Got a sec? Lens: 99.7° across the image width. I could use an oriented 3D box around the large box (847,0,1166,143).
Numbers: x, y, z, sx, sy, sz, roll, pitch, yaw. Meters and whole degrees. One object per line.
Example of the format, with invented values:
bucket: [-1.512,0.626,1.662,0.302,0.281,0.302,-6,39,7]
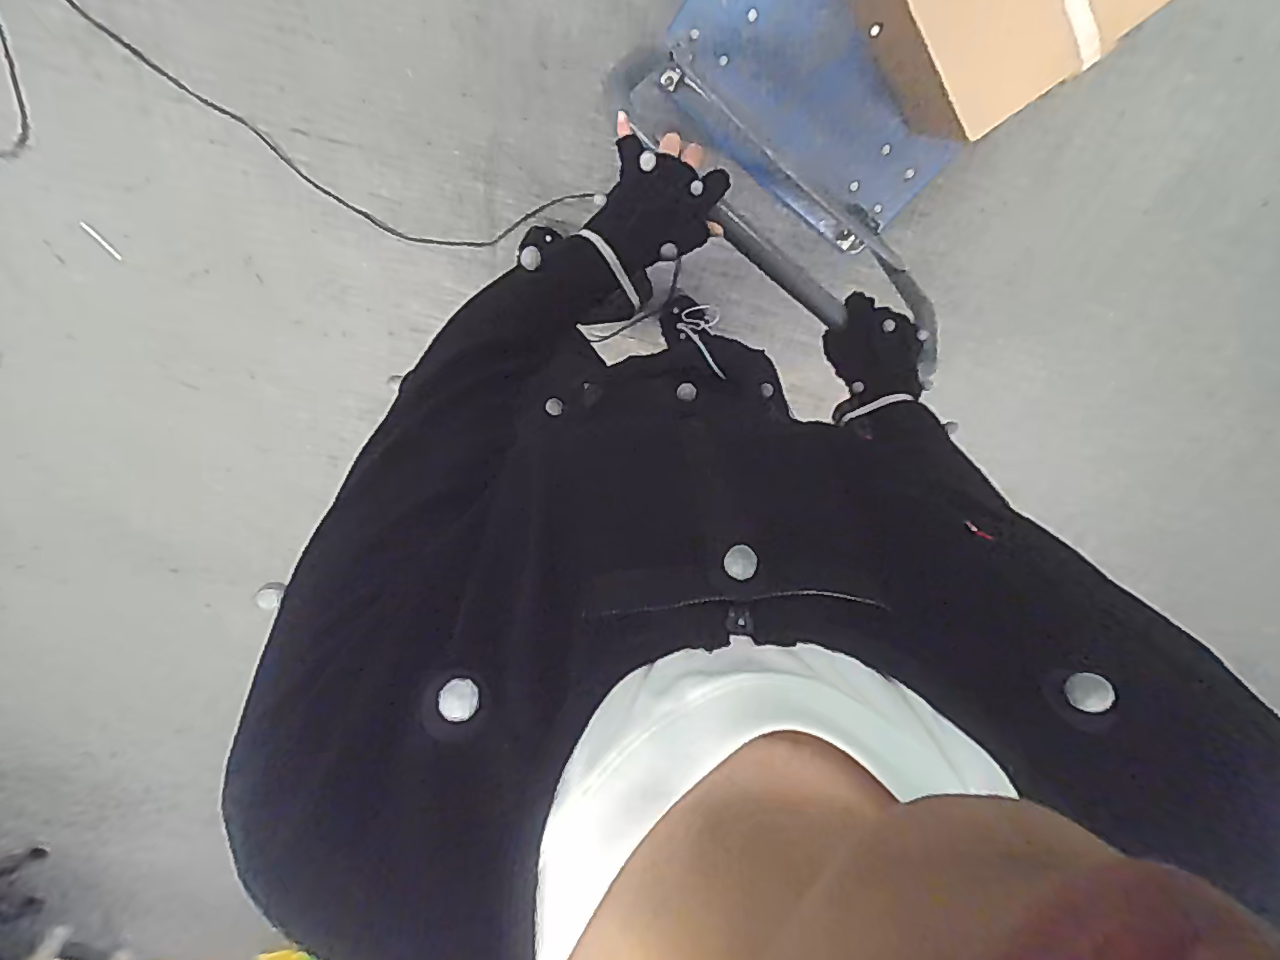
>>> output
large box: [0.497,-0.787,0.788,0.320,0.320,0.408,-31,114,26]
